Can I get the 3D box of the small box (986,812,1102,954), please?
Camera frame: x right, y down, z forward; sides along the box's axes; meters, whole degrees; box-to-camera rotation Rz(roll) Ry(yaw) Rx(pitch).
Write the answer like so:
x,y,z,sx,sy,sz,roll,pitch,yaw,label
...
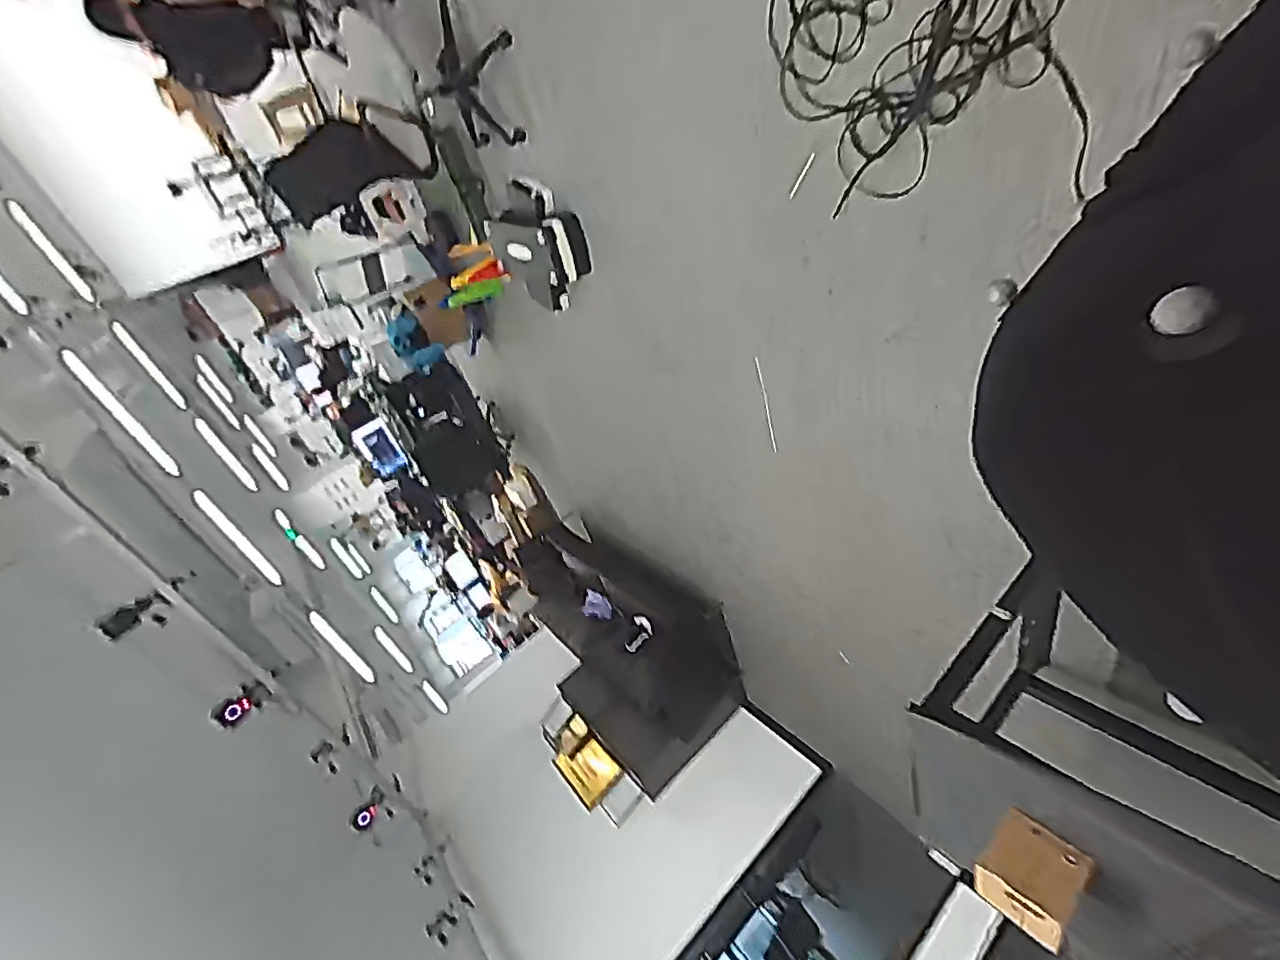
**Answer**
x,y,z,sx,sy,sz,roll,pitch,yaw,label
0.919,0.909,1.236,0.168,0.176,0.179,23,143,49,small box
